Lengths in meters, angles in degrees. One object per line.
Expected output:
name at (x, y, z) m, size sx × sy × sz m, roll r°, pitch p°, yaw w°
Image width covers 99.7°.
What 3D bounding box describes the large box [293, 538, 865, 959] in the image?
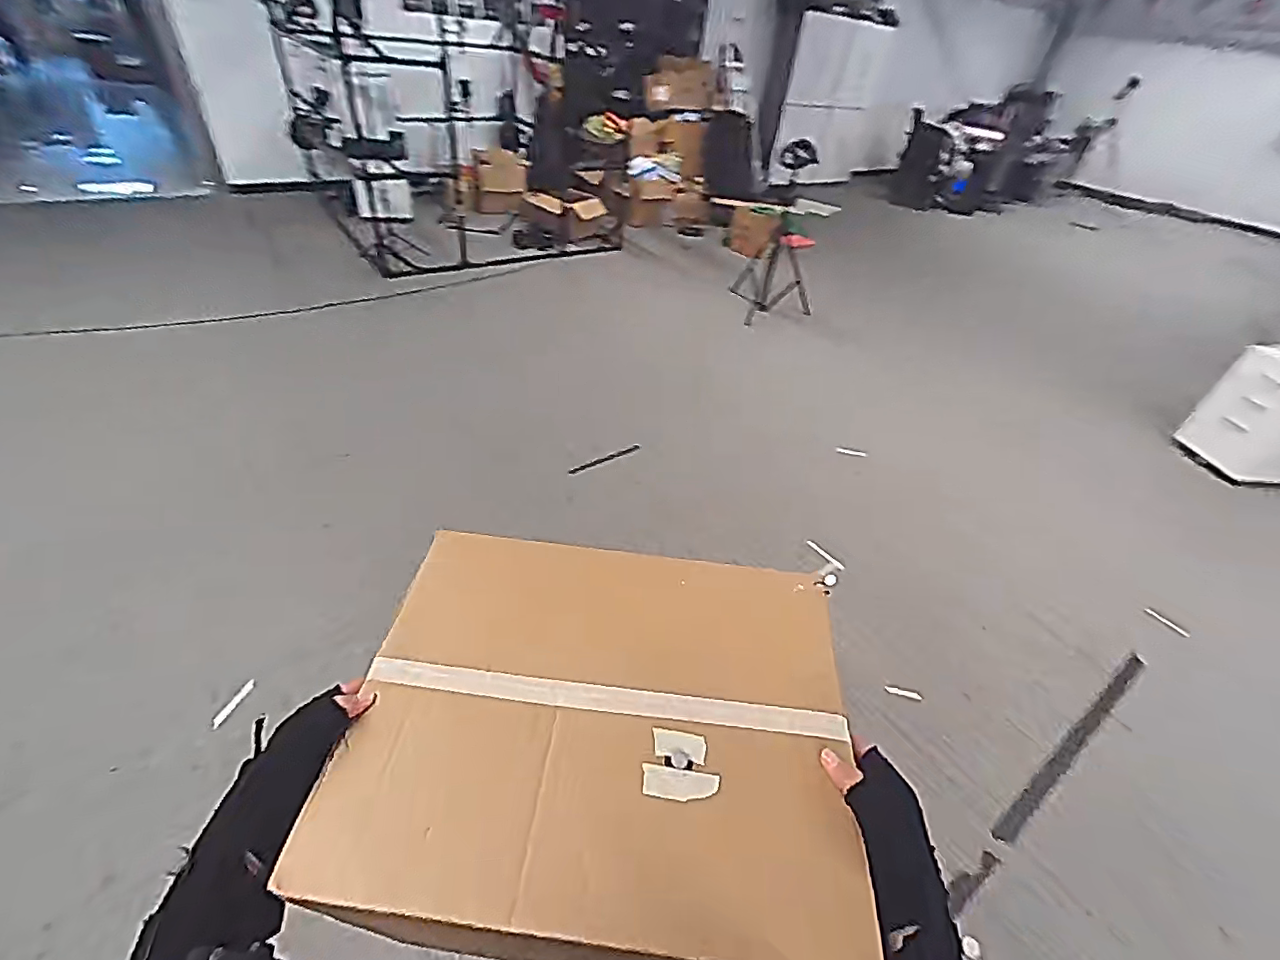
large box at (-0.041, 0.292, 0.575) m, size 0.408 × 0.320 × 0.320 m, roll 6°, pitch 46°, yaw 2°
